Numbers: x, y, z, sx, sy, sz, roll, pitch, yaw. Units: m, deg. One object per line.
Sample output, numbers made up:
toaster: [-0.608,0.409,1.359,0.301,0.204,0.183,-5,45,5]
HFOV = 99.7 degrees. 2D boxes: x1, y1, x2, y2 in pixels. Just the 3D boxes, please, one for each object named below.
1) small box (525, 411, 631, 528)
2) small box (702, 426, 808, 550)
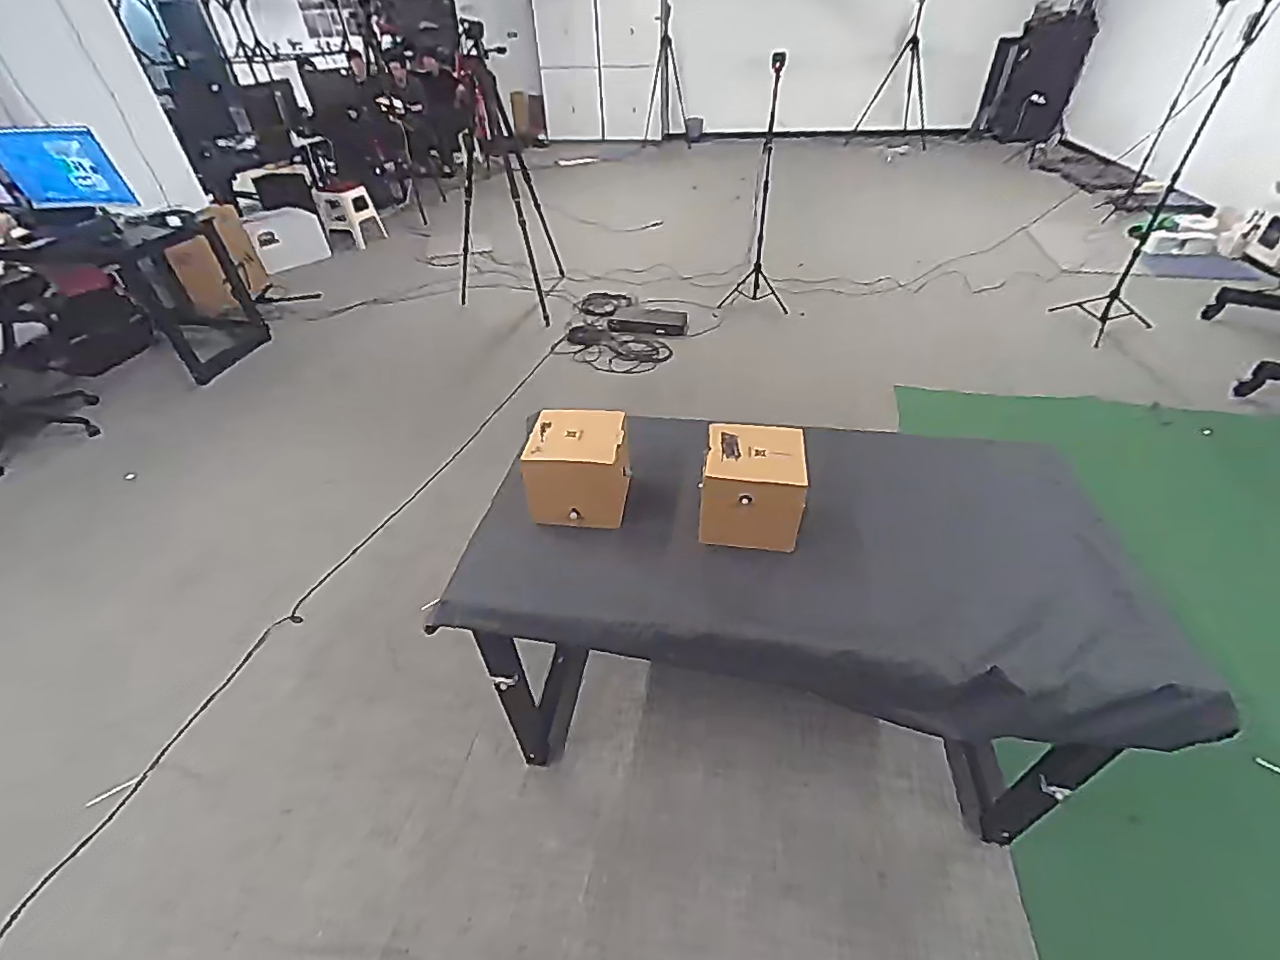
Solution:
small box: [-0.114,-0.019,1.087,0.179,0.176,0.168,4,41,6]
small box: [0.213,0.016,1.028,0.179,0.176,0.168,5,41,8]
